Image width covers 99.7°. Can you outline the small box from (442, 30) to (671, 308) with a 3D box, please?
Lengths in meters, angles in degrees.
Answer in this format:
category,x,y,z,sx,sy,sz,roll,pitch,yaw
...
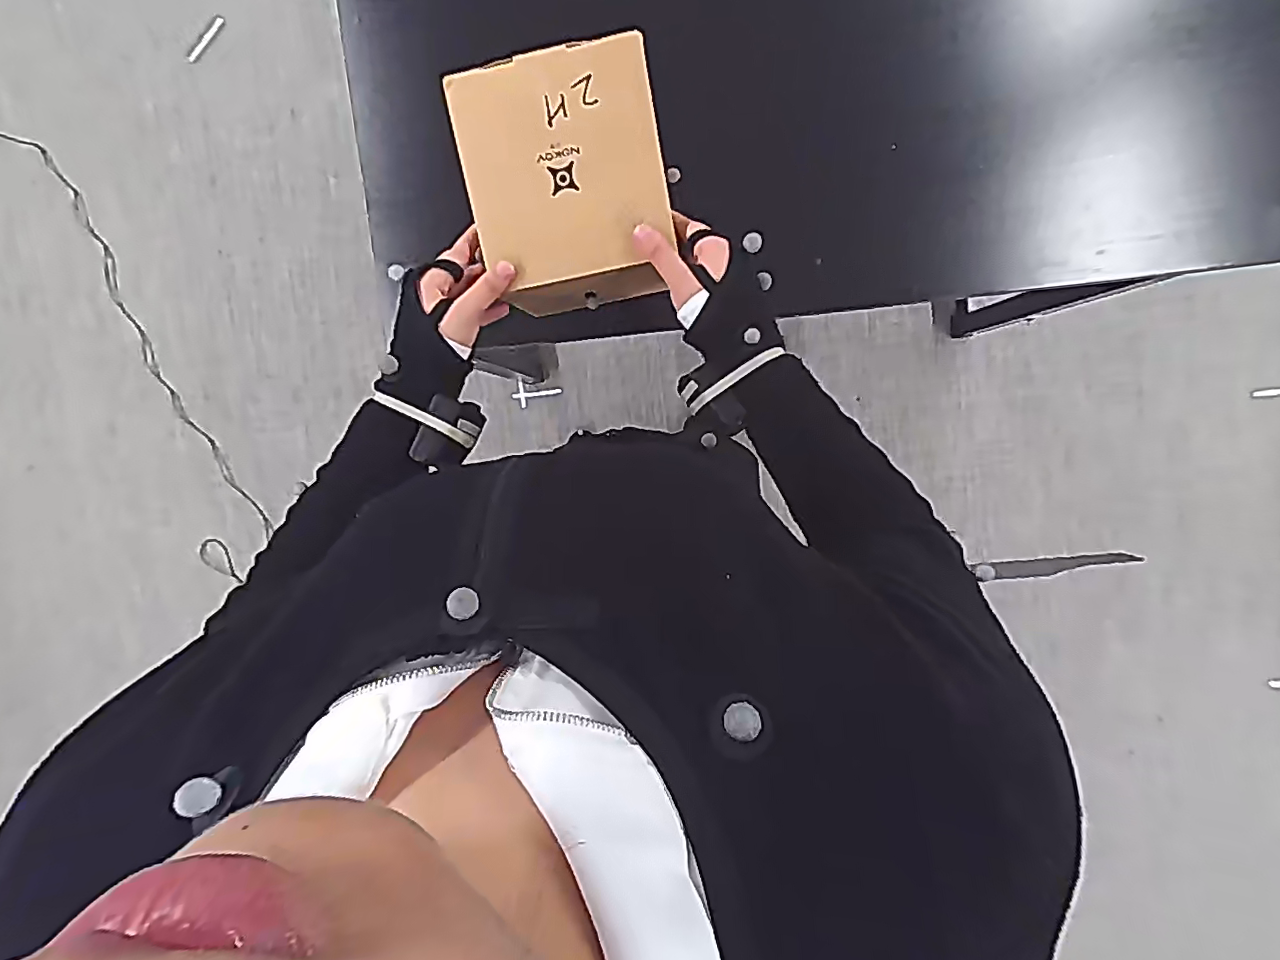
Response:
category,x,y,z,sx,sy,sz,roll,pitch,yaw
small box,-0.063,-0.273,0.525,0.168,0.176,0.179,-10,99,4
